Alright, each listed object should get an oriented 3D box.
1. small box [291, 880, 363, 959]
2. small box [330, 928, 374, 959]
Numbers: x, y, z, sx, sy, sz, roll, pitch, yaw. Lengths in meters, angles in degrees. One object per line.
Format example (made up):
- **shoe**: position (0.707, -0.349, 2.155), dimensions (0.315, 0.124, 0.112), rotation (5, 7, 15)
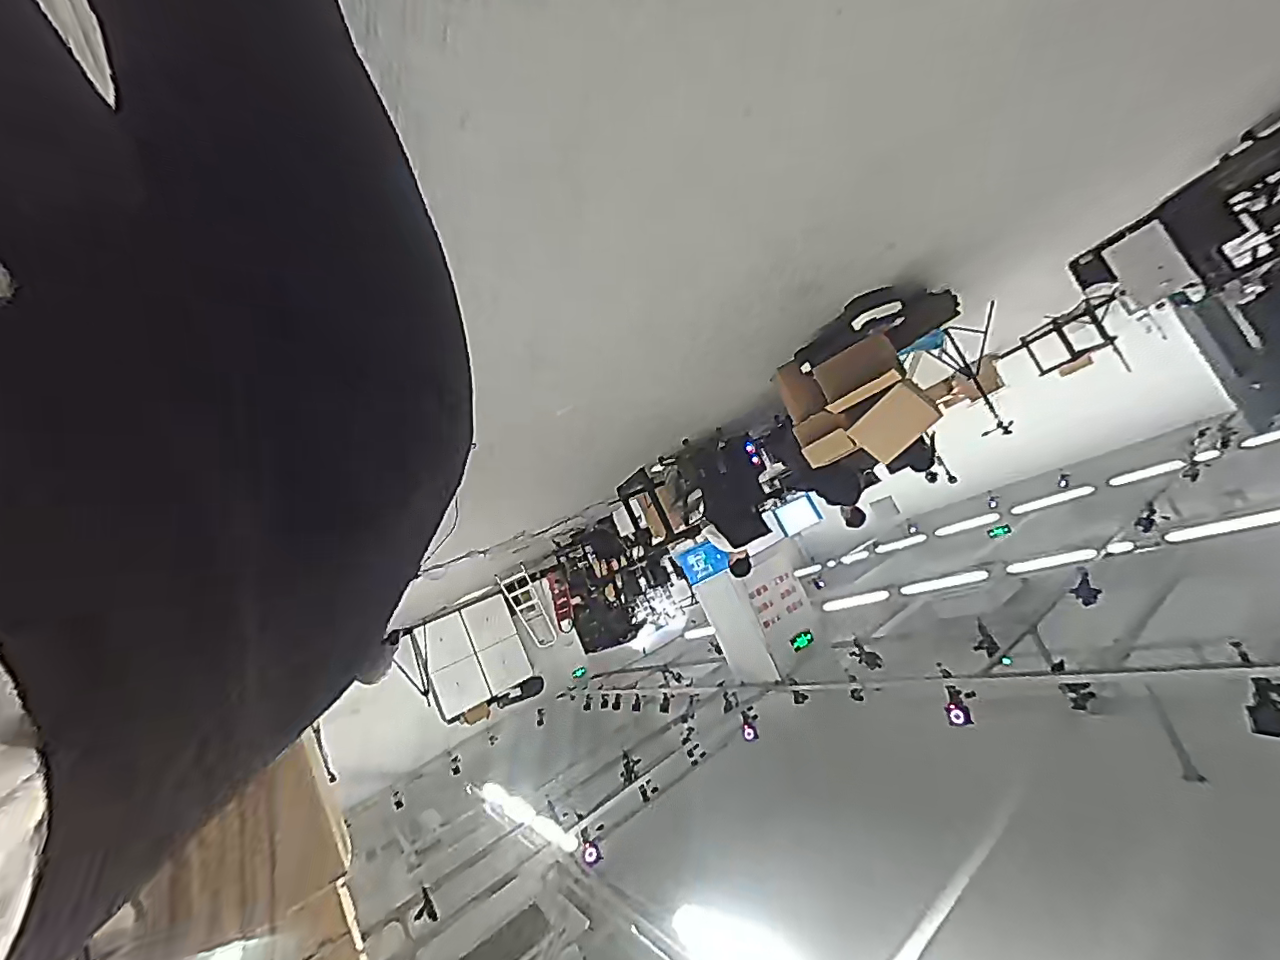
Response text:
- **small box**: position (-1.092, 1.553, 1.890), dimensions (0.168, 0.176, 0.179), rotation (-22, 167, -29)
- **small box**: position (-1.017, 1.693, 1.855), dimensions (0.168, 0.176, 0.179), rotation (-21, 168, -30)
